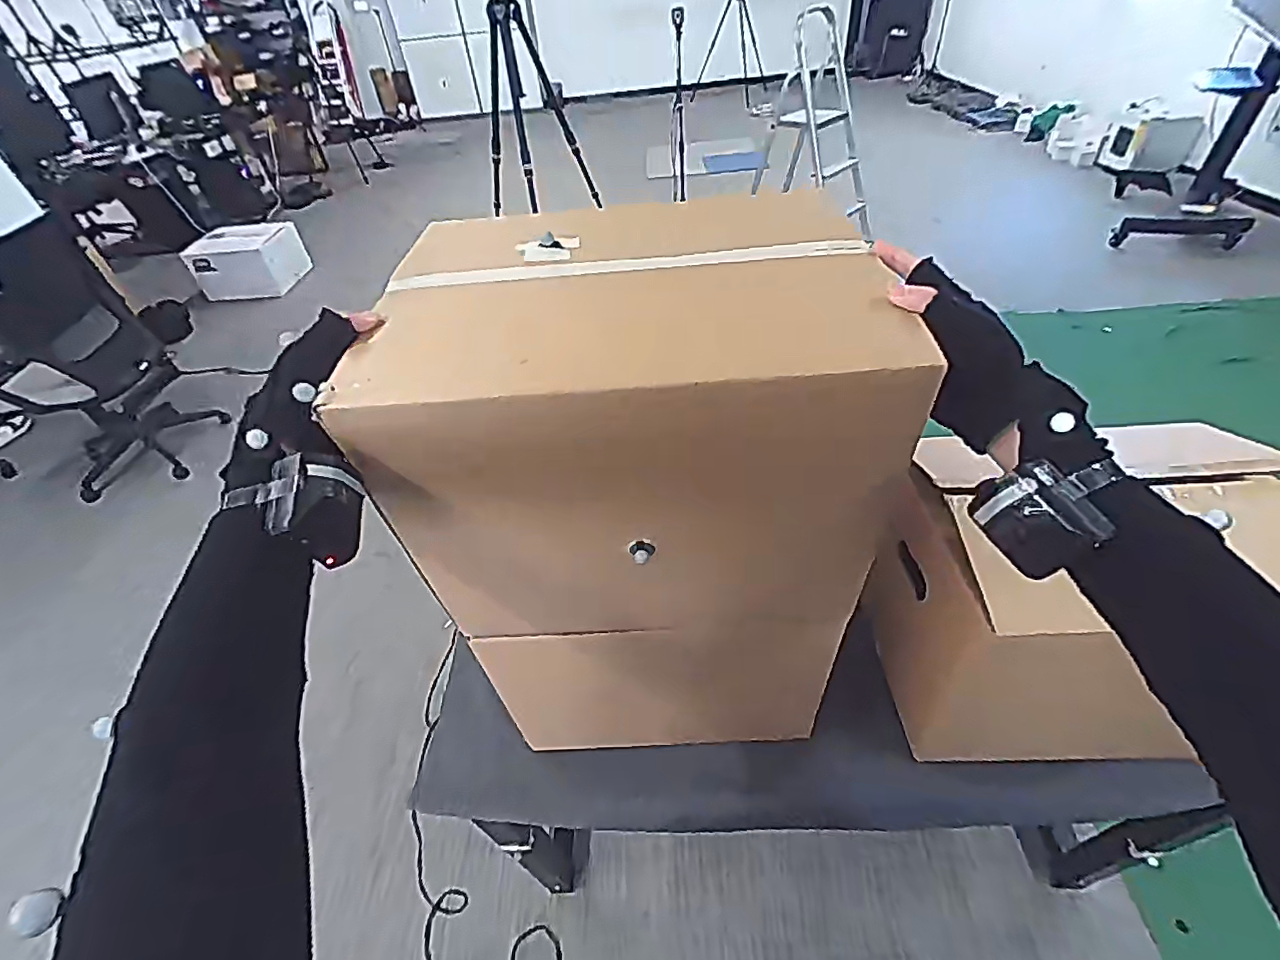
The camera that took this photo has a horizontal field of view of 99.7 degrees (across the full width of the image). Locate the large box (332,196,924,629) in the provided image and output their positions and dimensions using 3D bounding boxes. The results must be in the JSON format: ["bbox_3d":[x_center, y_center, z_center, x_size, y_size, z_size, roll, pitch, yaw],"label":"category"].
[{"bbox_3d":[-0.001,-0.062,0.564,0.408,0.320,0.320,-4,46,3],"label":"large box"}]
